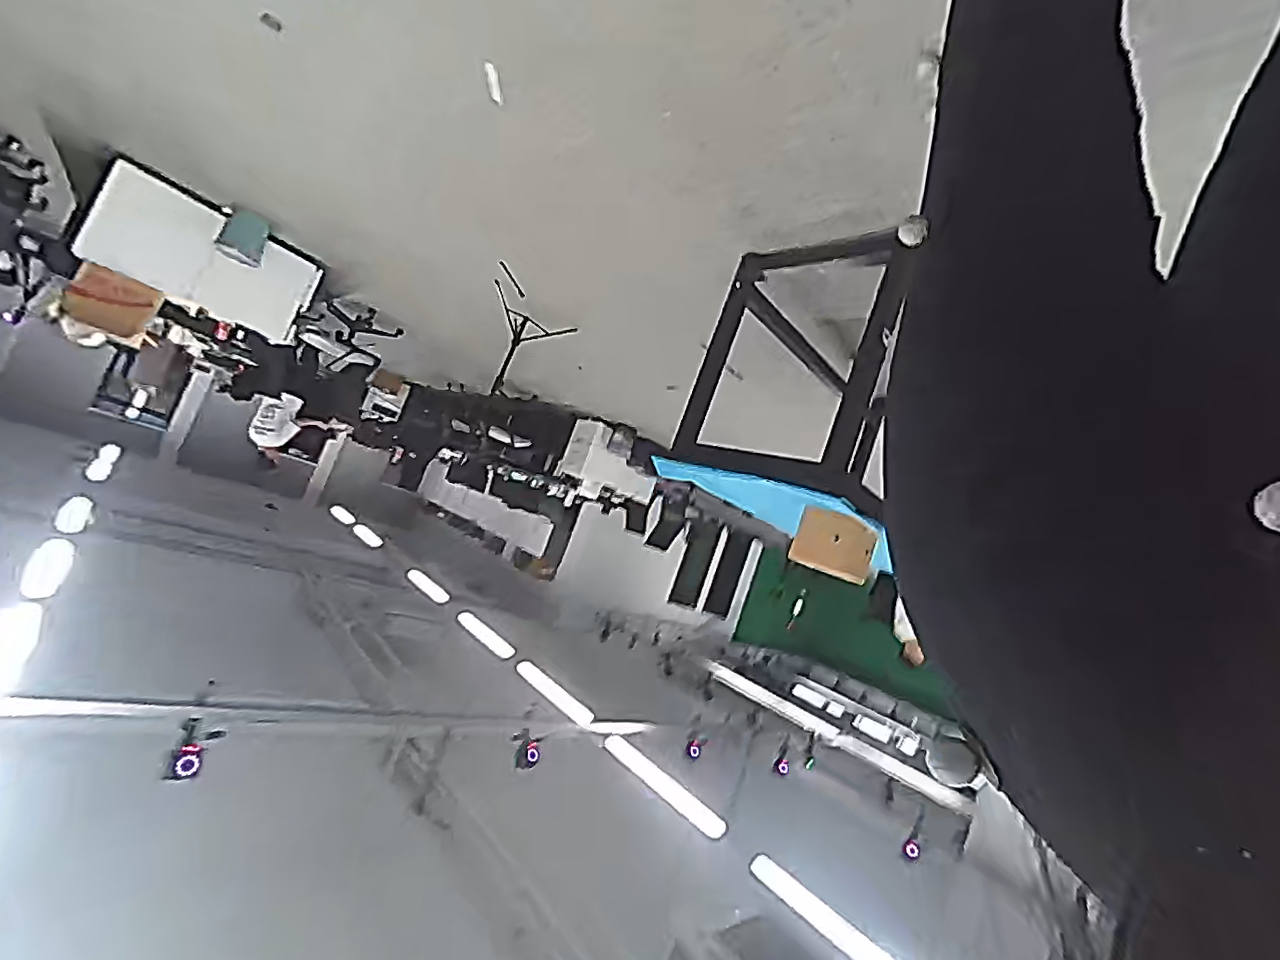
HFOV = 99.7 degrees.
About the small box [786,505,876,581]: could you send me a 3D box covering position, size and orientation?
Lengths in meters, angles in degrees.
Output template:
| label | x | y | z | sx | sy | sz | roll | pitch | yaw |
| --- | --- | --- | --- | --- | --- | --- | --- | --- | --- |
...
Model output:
| label | x | y | z | sx | sy | sz | roll | pitch | yaw |
| --- | --- | --- | --- | --- | --- | --- | --- | --- | --- |
| small box | 0.575 | 0.194 | 1.633 | 0.168 | 0.176 | 0.179 | 26 | 172 | -42 |
